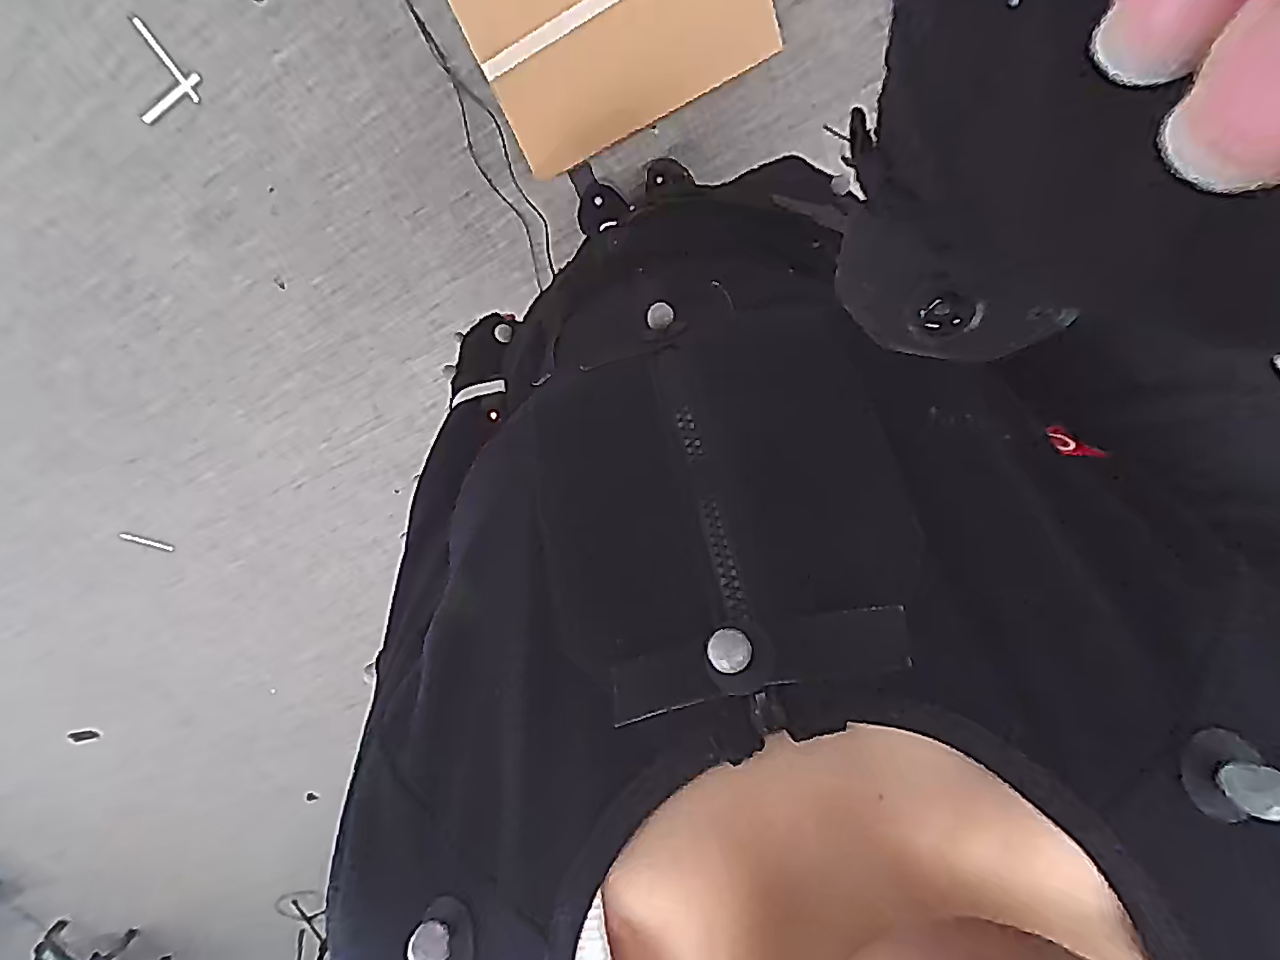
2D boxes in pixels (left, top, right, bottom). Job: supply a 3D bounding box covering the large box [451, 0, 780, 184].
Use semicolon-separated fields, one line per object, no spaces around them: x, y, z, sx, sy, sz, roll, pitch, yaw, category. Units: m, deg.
-0.040;-0.738;0.877;0.408;0.320;0.320;-22;120;13;large box
